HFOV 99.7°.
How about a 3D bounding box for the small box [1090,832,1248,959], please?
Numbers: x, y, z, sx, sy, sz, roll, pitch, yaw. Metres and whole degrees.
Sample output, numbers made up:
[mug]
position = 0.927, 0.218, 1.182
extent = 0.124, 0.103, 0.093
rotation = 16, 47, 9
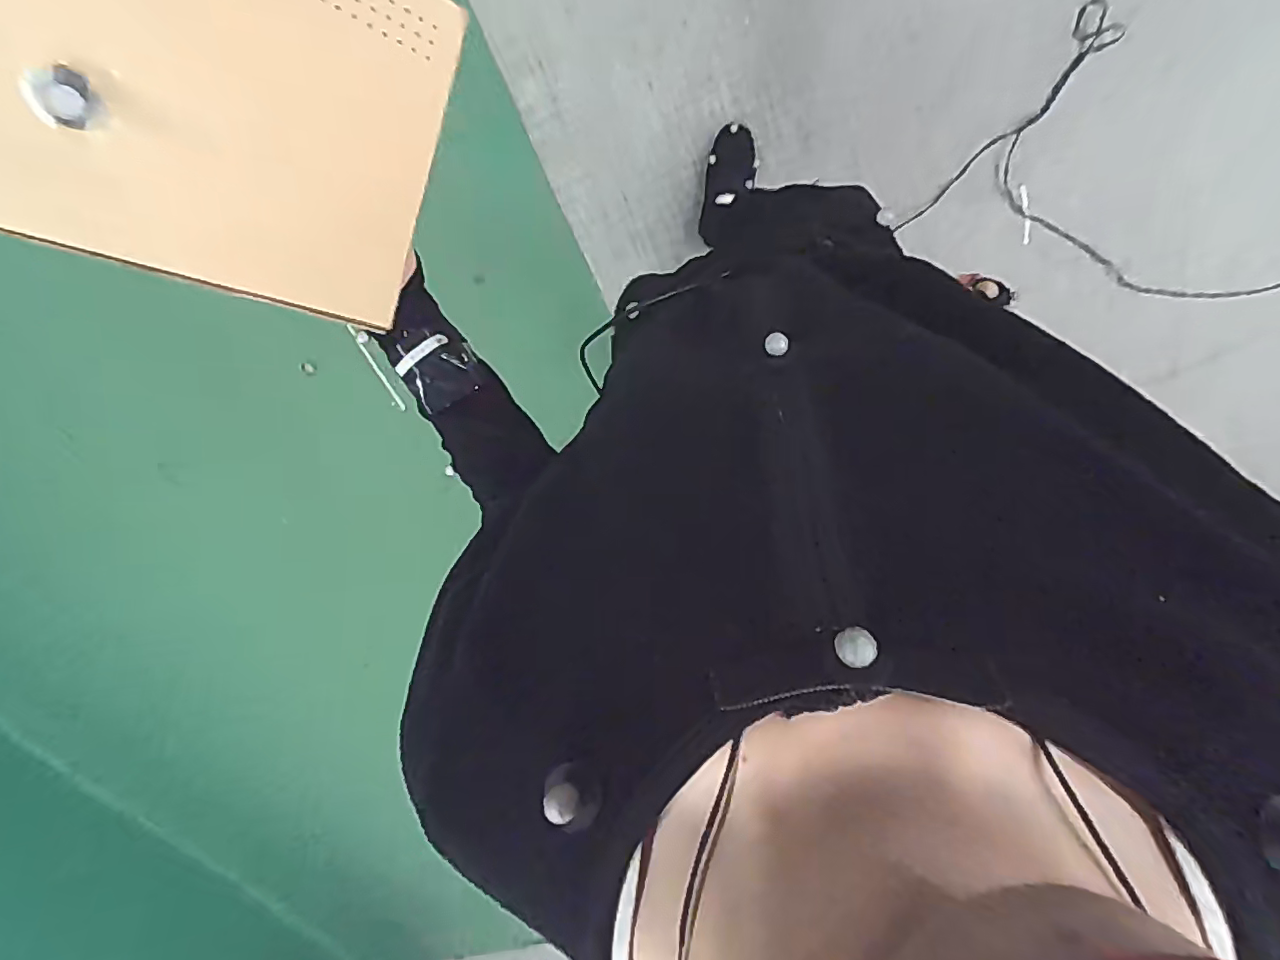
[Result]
[small box]
position = 1.114, 0.888, 1.154
extent = 0.179, 0.176, 0.168
rotation = -19, 114, 11
